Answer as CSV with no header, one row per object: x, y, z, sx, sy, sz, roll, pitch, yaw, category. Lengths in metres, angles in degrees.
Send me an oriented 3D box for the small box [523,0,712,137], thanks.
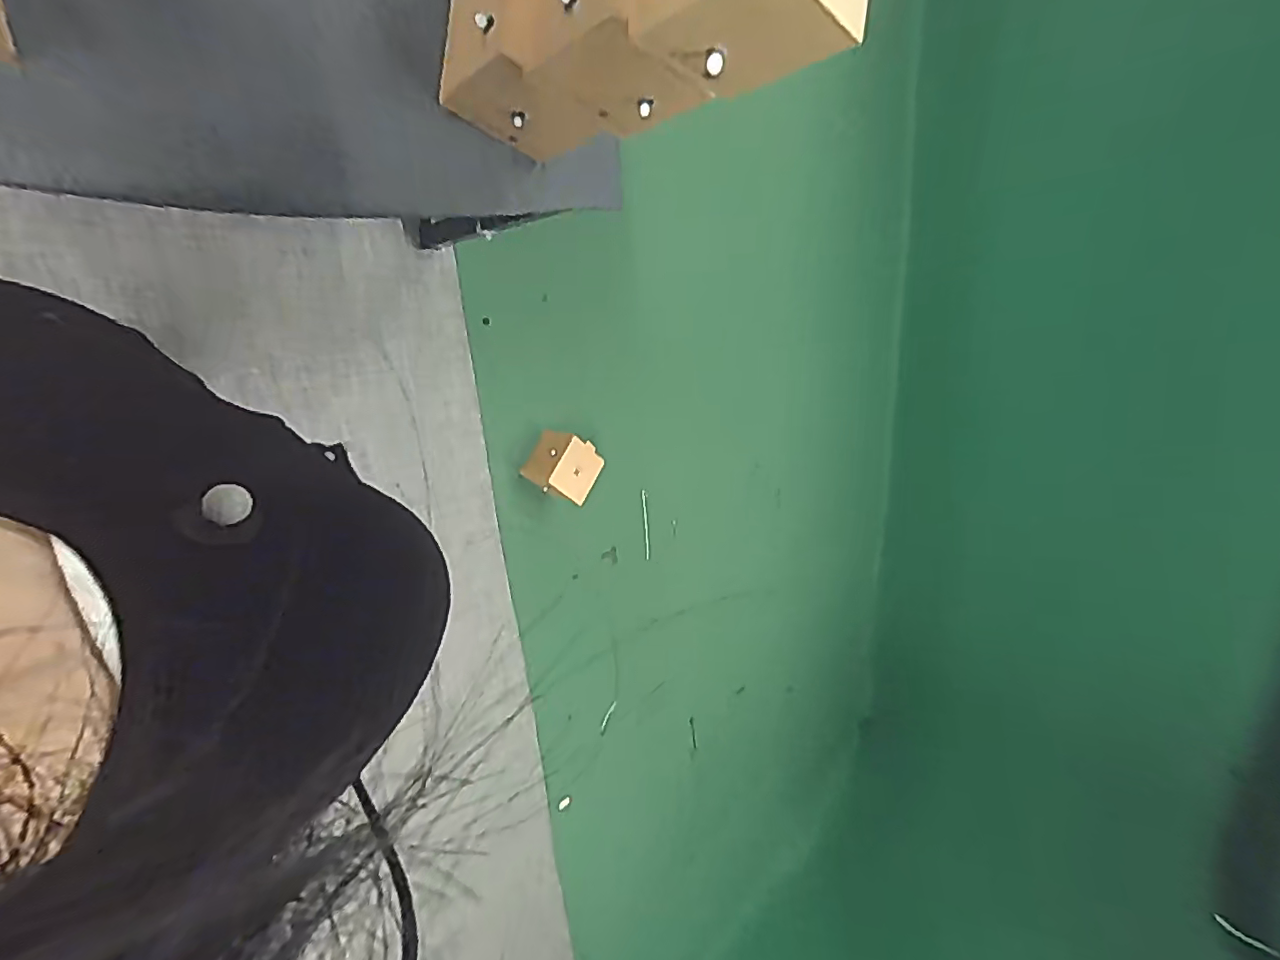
-0.019,-0.532,0.618,0.168,0.176,0.179,-1,98,-46,small box

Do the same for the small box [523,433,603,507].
-0.261,-0.037,1.790,0.168,0.176,0.179,42,70,-42,small box

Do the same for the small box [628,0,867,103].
0.102,-0.503,0.510,0.168,0.176,0.179,-10,106,-44,small box

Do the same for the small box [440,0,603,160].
-0.146,-0.562,0.715,0.168,0.176,0.179,6,93,-46,small box
